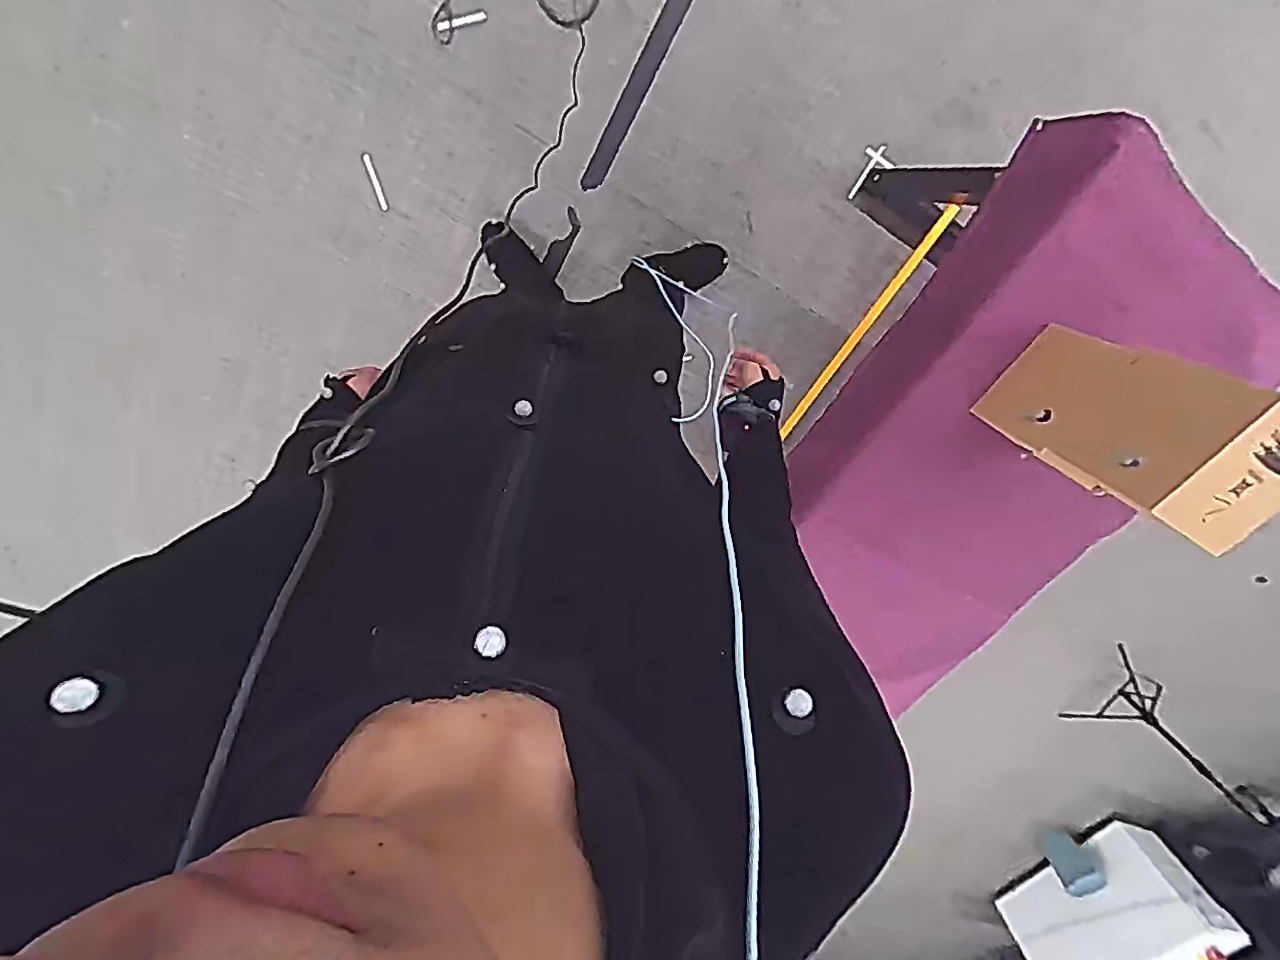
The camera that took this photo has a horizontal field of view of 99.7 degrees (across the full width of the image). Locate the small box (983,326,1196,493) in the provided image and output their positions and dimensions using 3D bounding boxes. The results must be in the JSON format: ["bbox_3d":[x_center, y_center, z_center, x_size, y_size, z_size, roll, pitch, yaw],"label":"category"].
[{"bbox_3d":[0.693,-0.116,0.863,0.168,0.176,0.179,26,114,-21],"label":"small box"}]
